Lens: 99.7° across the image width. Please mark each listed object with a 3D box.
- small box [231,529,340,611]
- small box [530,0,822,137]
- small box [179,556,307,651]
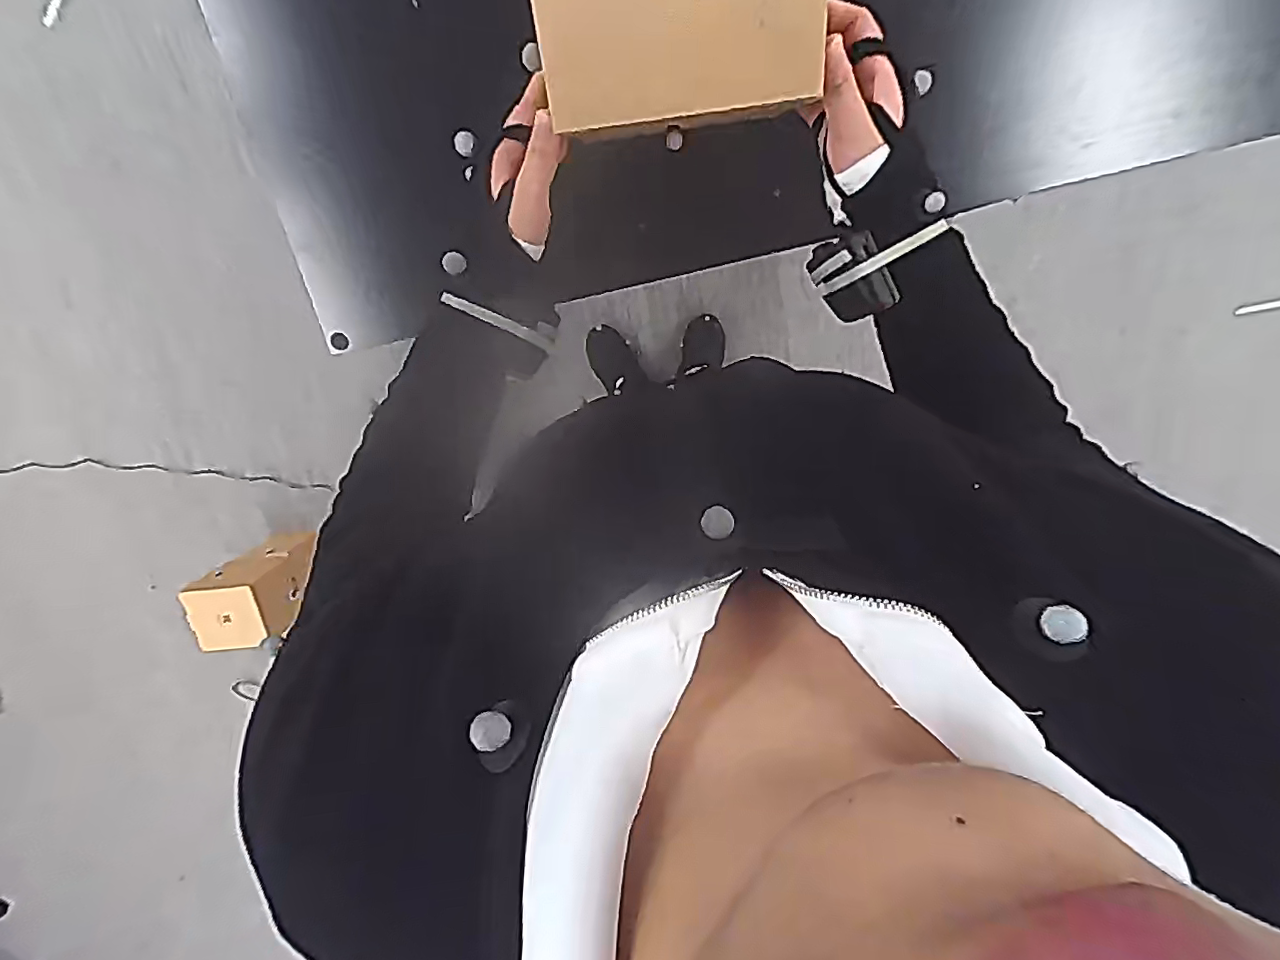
[{"bbox_3d":[-0.986,0.260,1.521,0.168,0.176,0.179,-11,108,3],"label":"small box"},{"bbox_3d":[0.019,-0.336,0.355,0.168,0.176,0.179,-5,120,4],"label":"small box"},{"bbox_3d":[-0.989,0.305,1.363,0.179,0.176,0.168,-7,108,1],"label":"small box"}]
